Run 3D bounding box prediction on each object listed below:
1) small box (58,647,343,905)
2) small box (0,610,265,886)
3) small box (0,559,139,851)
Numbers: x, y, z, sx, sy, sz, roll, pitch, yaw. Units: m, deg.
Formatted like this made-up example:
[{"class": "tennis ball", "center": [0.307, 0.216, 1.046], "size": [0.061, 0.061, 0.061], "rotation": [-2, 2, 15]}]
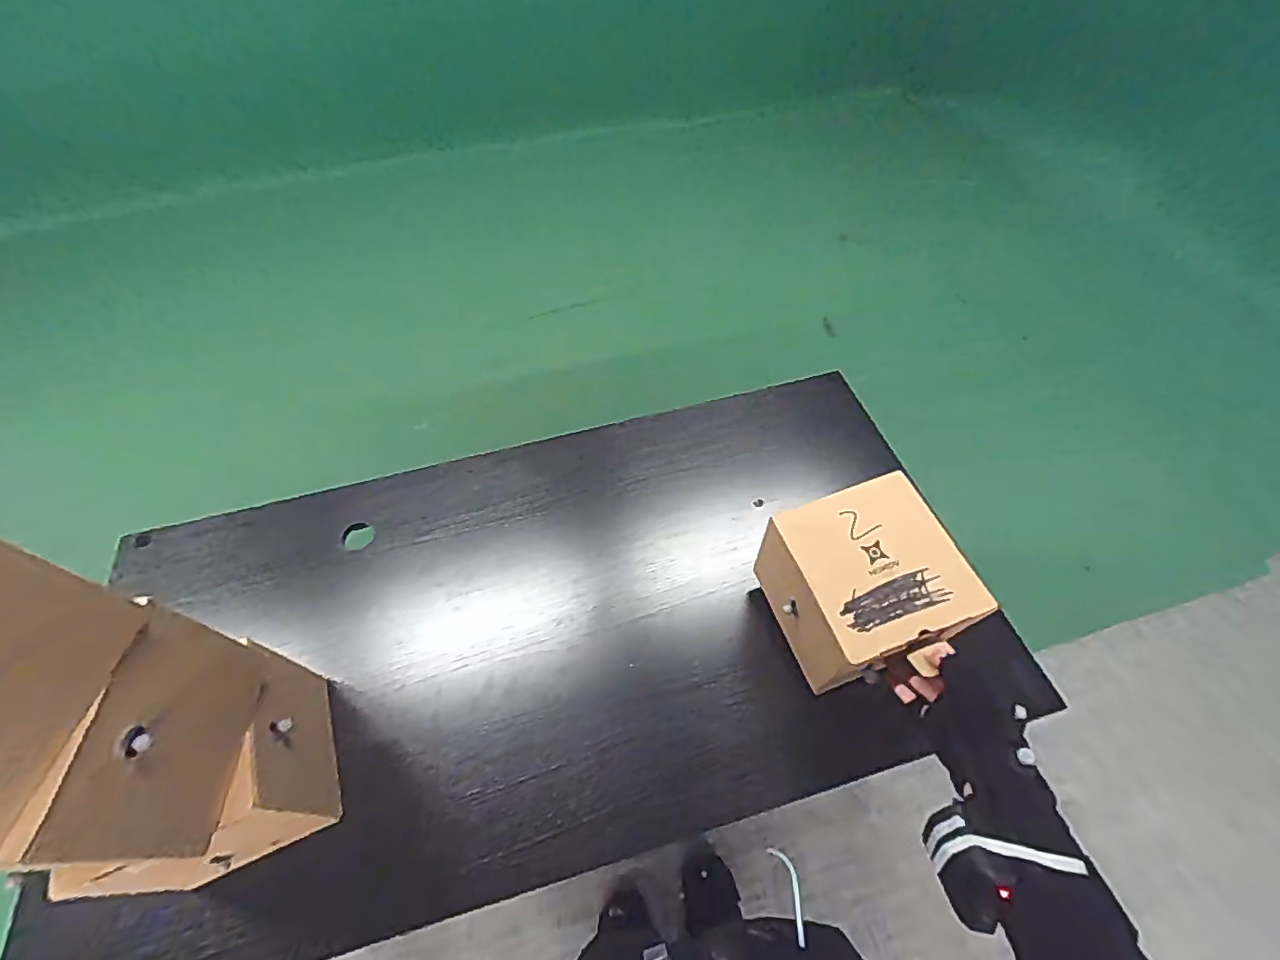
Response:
[{"class": "small box", "center": [-0.449, 0.314, 0.583], "size": [0.168, 0.176, 0.179], "rotation": [-21, 59, -13]}, {"class": "small box", "center": [-0.457, 0.223, 0.446], "size": [0.168, 0.176, 0.179], "rotation": [-3, 56, -1]}, {"class": "small box", "center": [-0.465, 0.127, 0.313], "size": [0.168, 0.176, 0.179], "rotation": [6, 58, 5]}]
